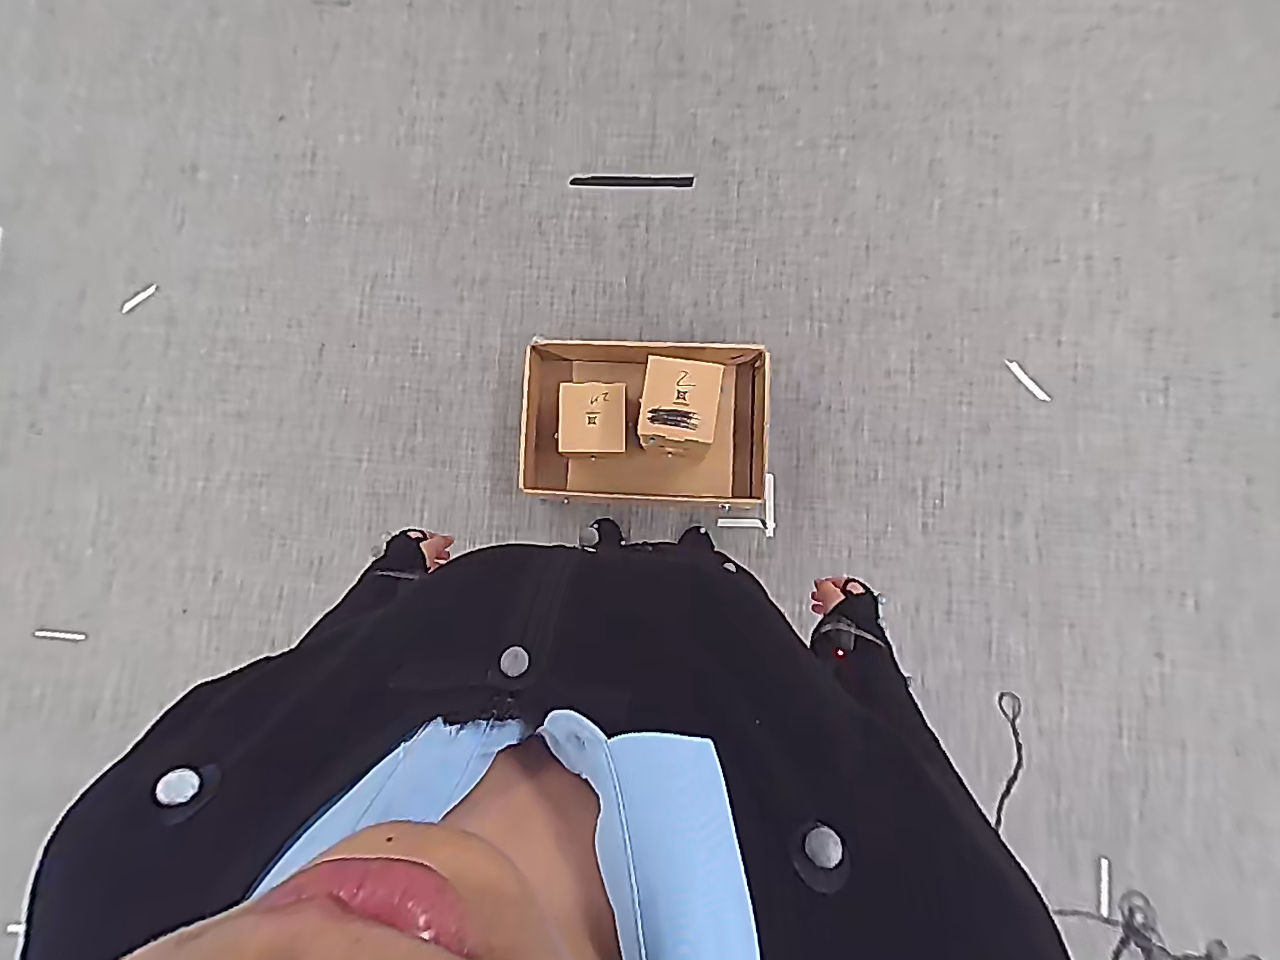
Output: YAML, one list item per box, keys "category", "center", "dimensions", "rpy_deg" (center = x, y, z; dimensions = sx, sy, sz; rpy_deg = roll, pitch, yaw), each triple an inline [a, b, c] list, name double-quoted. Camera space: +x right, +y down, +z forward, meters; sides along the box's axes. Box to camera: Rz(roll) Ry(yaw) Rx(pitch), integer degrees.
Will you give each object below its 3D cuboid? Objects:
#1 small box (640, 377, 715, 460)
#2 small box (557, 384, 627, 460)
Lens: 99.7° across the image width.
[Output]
- category: "small box"
  center: [0.096, -0.155, 1.404]
  dimensions: [0.168, 0.176, 0.179]
  rpy_deg: [7, 87, 5]
- category: "small box"
  center: [-0.120, -0.145, 1.407]
  dimensions: [0.168, 0.176, 0.179]
  rpy_deg: [1, 86, 0]
